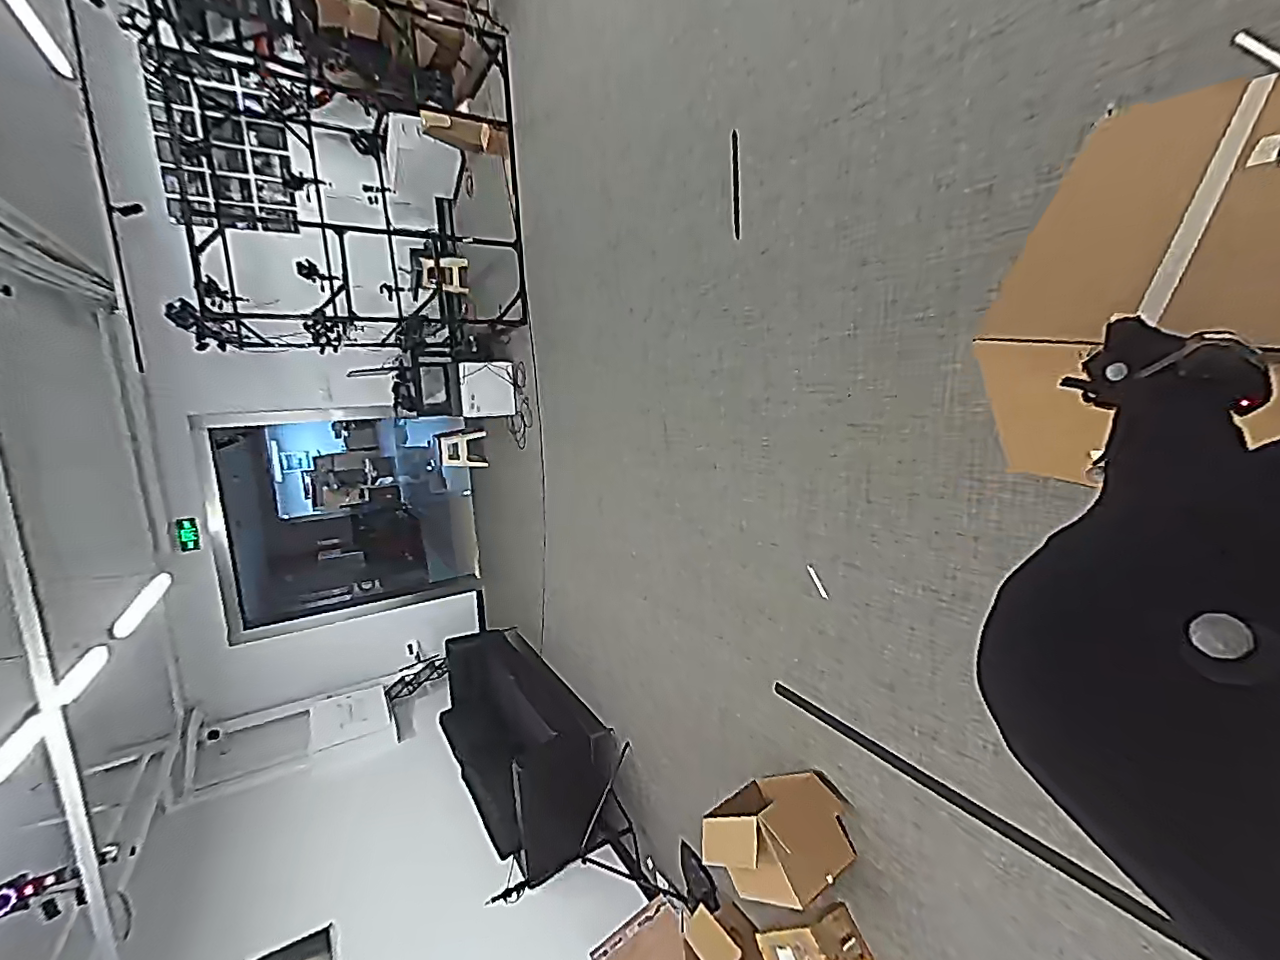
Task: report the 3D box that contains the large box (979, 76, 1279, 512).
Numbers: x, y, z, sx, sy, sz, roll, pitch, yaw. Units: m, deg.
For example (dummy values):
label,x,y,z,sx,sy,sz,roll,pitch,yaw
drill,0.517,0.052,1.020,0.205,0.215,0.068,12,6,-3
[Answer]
label,x,y,z,sx,sy,sz,roll,pitch,yaw
large box,0.711,-0.224,0.692,0.320,0.320,0.408,22,74,50
